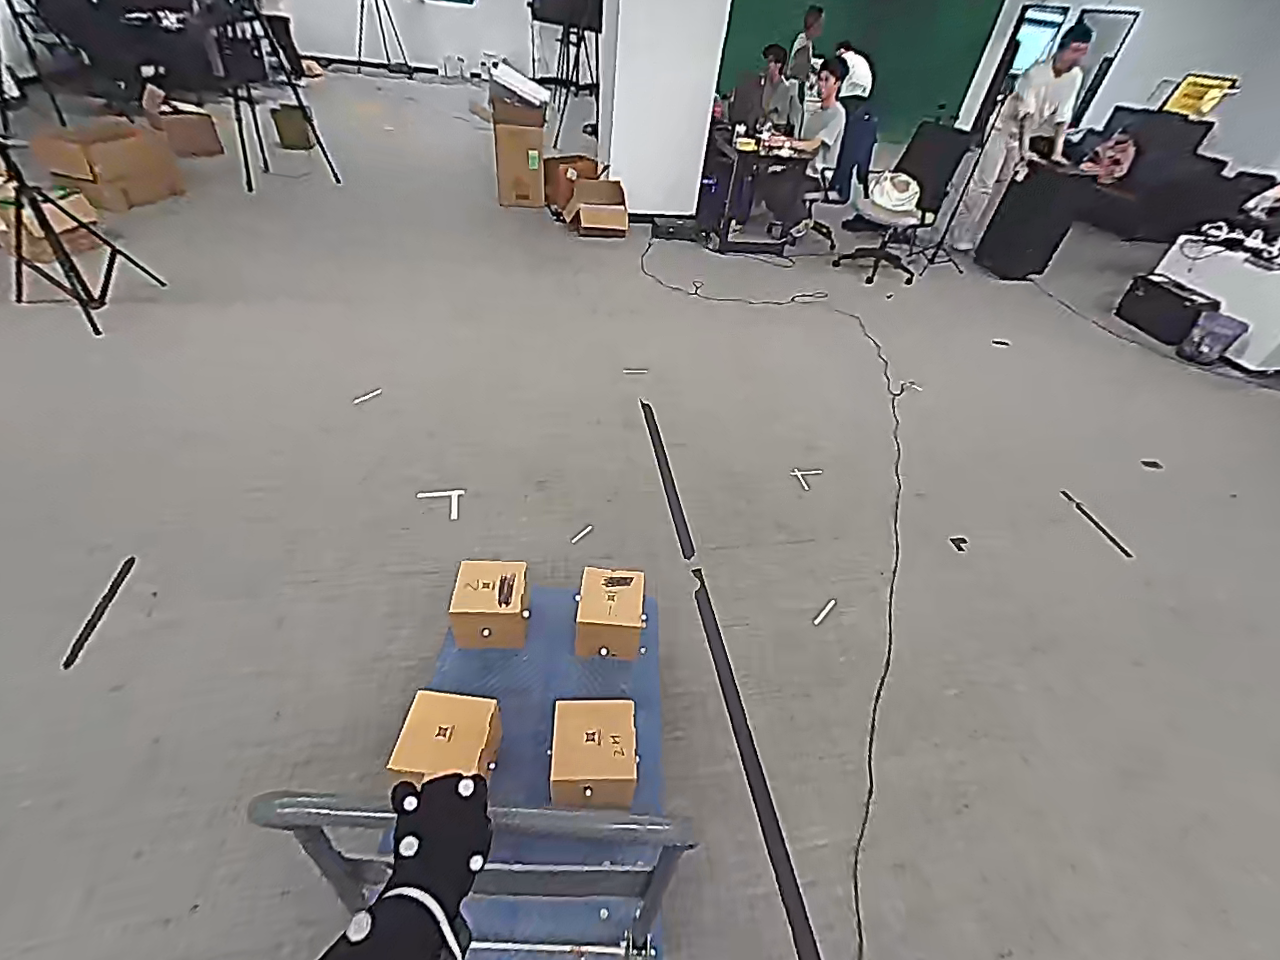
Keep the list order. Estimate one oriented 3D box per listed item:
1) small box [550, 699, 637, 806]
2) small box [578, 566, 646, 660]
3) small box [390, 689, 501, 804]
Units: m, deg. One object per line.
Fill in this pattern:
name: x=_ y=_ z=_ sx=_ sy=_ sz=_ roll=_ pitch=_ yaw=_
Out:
small box: x=-0.101 y=0.601 z=1.190 sx=0.179 sy=0.176 sz=0.168 roll=3 pitch=42 yaw=-5
small box: x=-0.077 y=0.360 z=1.465 sx=0.168 sy=0.176 sz=0.179 roll=6 pitch=43 yaw=-1
small box: x=-0.409 y=0.579 z=1.170 sx=0.179 sy=0.176 sz=0.168 roll=8 pitch=41 yaw=-2
